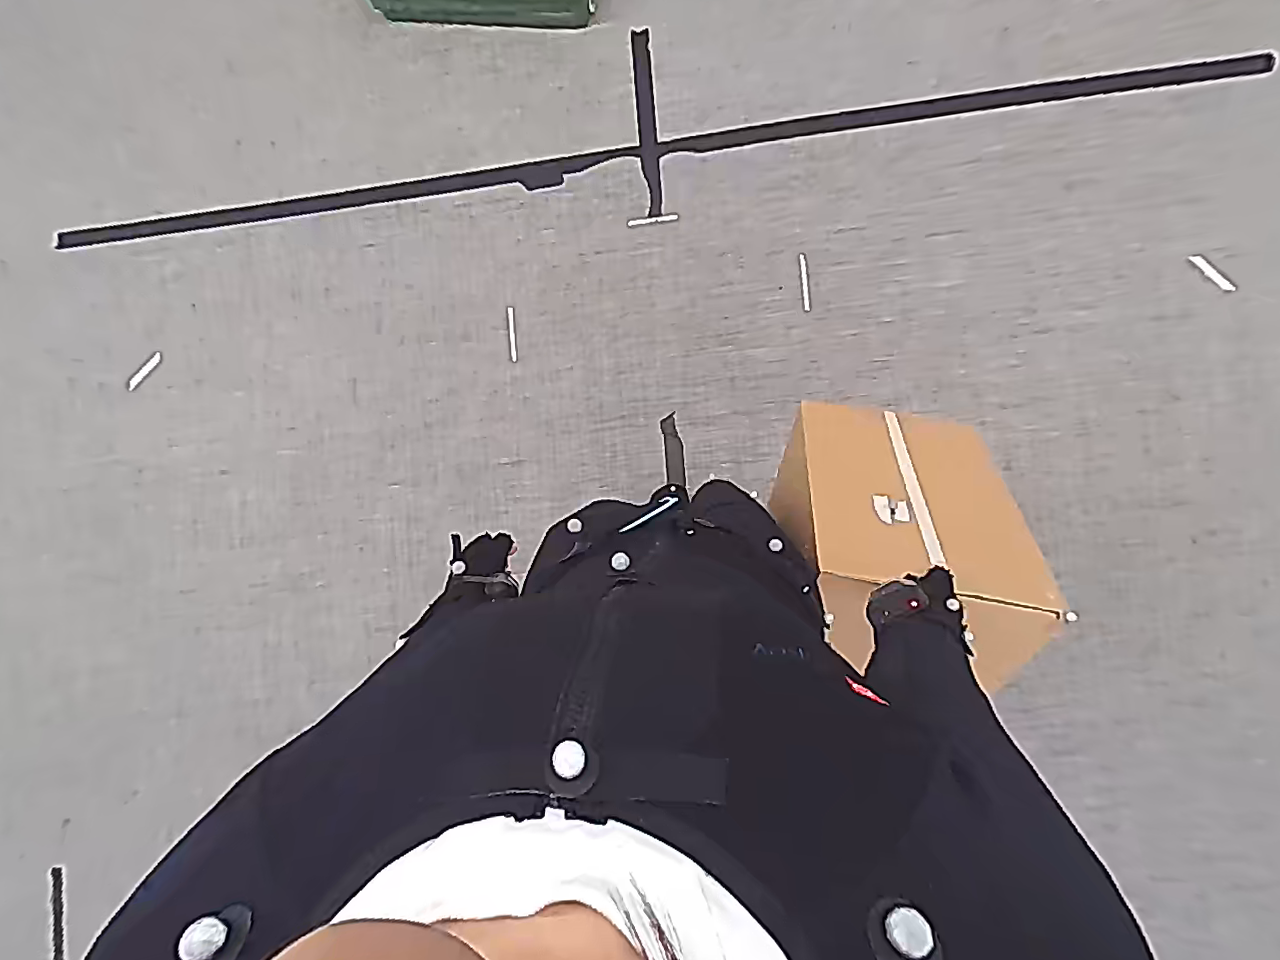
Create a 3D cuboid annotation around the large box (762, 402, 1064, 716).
[{"bbox_3d":[0.399,0.123,0.928,0.320,0.408,0.320,9,134,4],"label":"large box"}]
